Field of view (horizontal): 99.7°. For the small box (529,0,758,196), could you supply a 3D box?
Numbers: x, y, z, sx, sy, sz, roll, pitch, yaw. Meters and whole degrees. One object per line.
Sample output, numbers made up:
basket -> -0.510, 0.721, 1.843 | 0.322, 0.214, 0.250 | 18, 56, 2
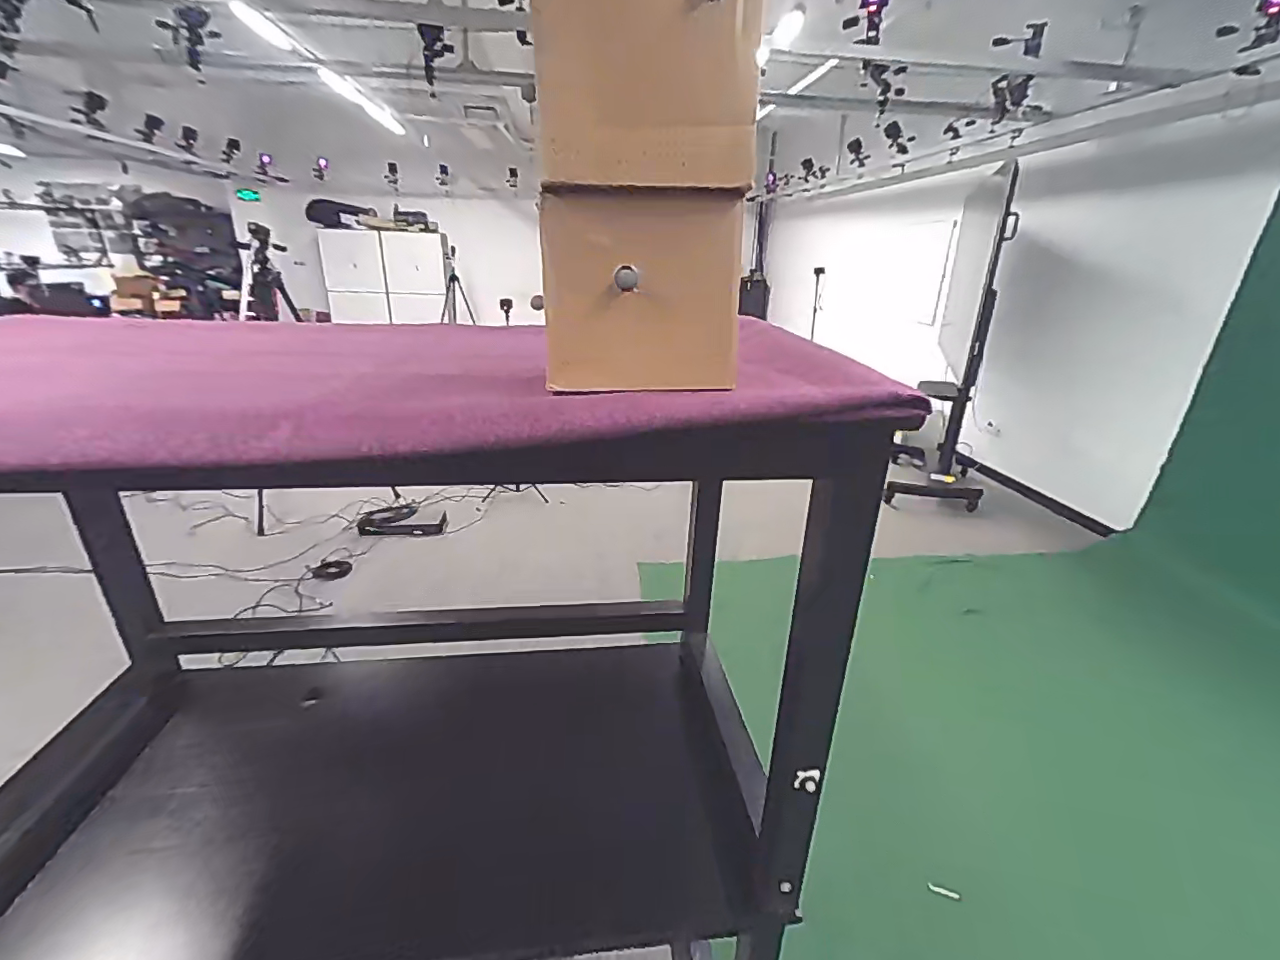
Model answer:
small box -> -0.001, -0.334, 0.478 | 0.179, 0.176, 0.168 | -2, 20, -6

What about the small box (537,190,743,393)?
small box -> -0.004, -0.185, 0.546 | 0.179, 0.176, 0.168 | -2, 21, -6
